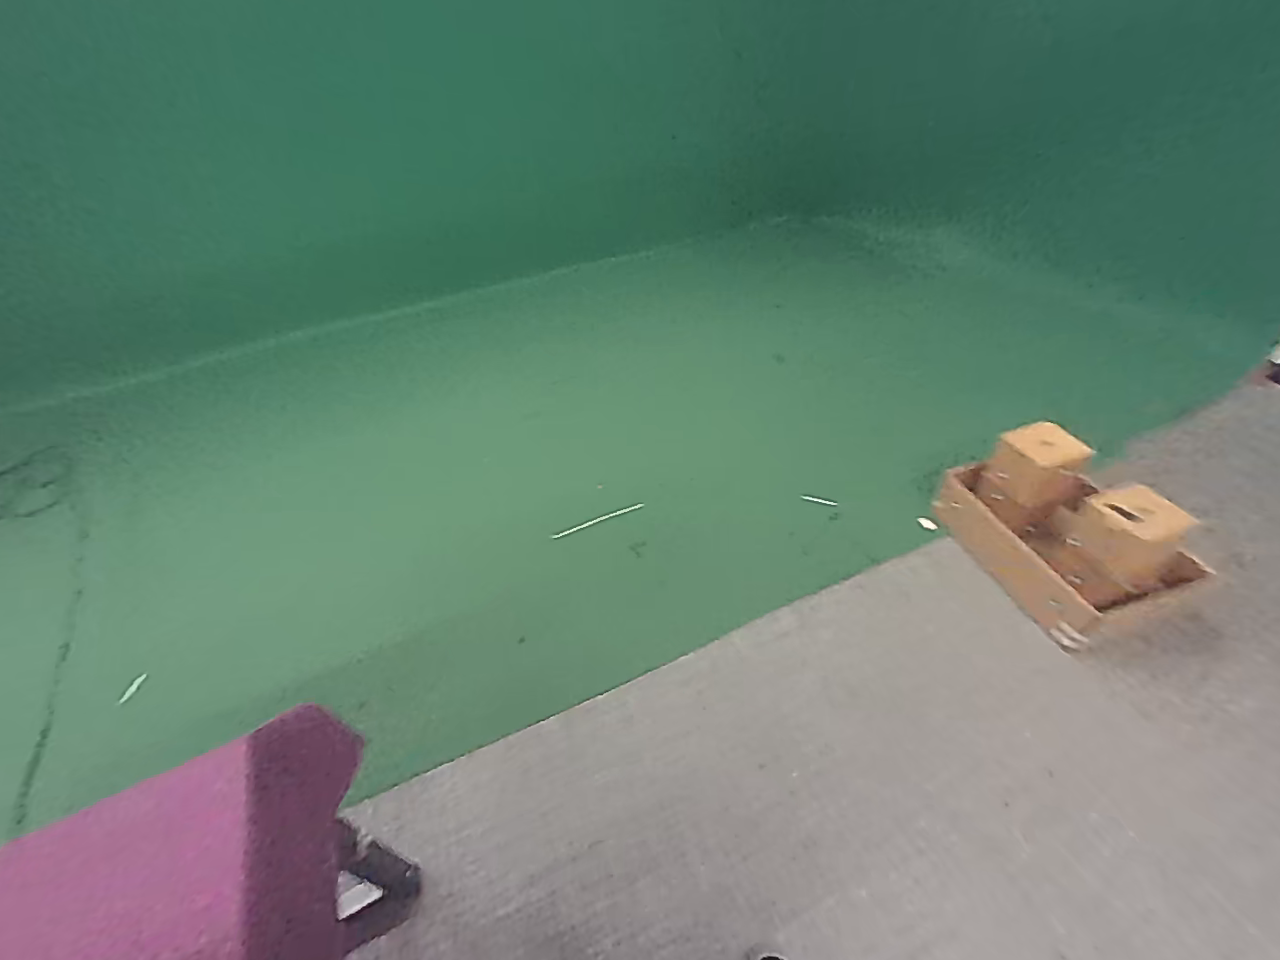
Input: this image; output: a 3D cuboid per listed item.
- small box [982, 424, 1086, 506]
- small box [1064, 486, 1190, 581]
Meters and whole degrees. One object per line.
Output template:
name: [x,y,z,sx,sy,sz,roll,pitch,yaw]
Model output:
small box: [1.225,-0.044,1.698,0.179,0.176,0.168,-16,44,-8]
small box: [1.307,0.149,1.473,0.179,0.176,0.168,-16,43,-9]
